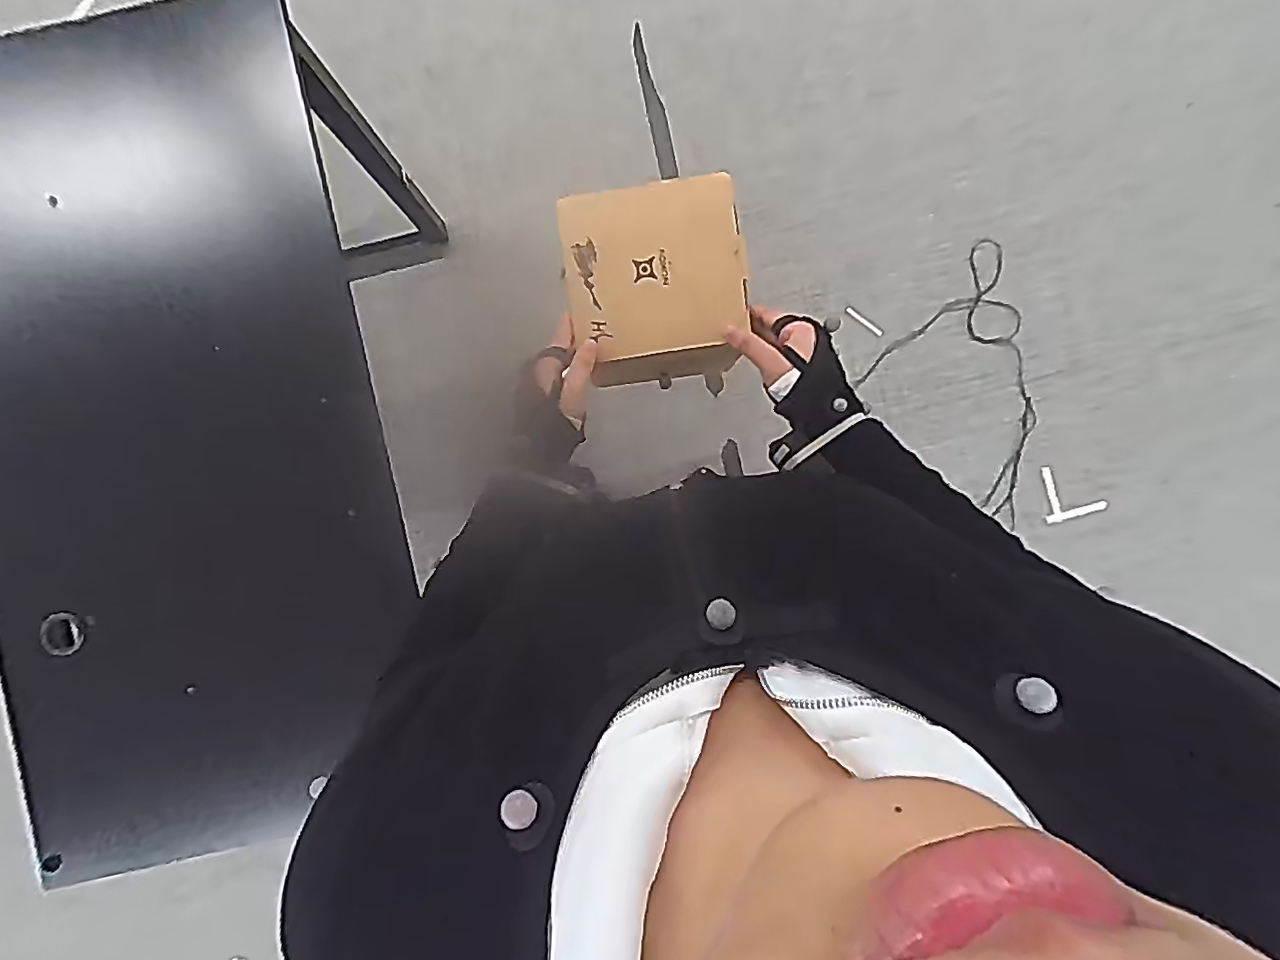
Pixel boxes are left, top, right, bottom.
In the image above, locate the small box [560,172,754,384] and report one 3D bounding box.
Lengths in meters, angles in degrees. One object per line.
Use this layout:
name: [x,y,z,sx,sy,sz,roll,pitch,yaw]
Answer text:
small box: [0.016,-0.209,0.605,0.179,0.176,0.168,-7,90,1]
